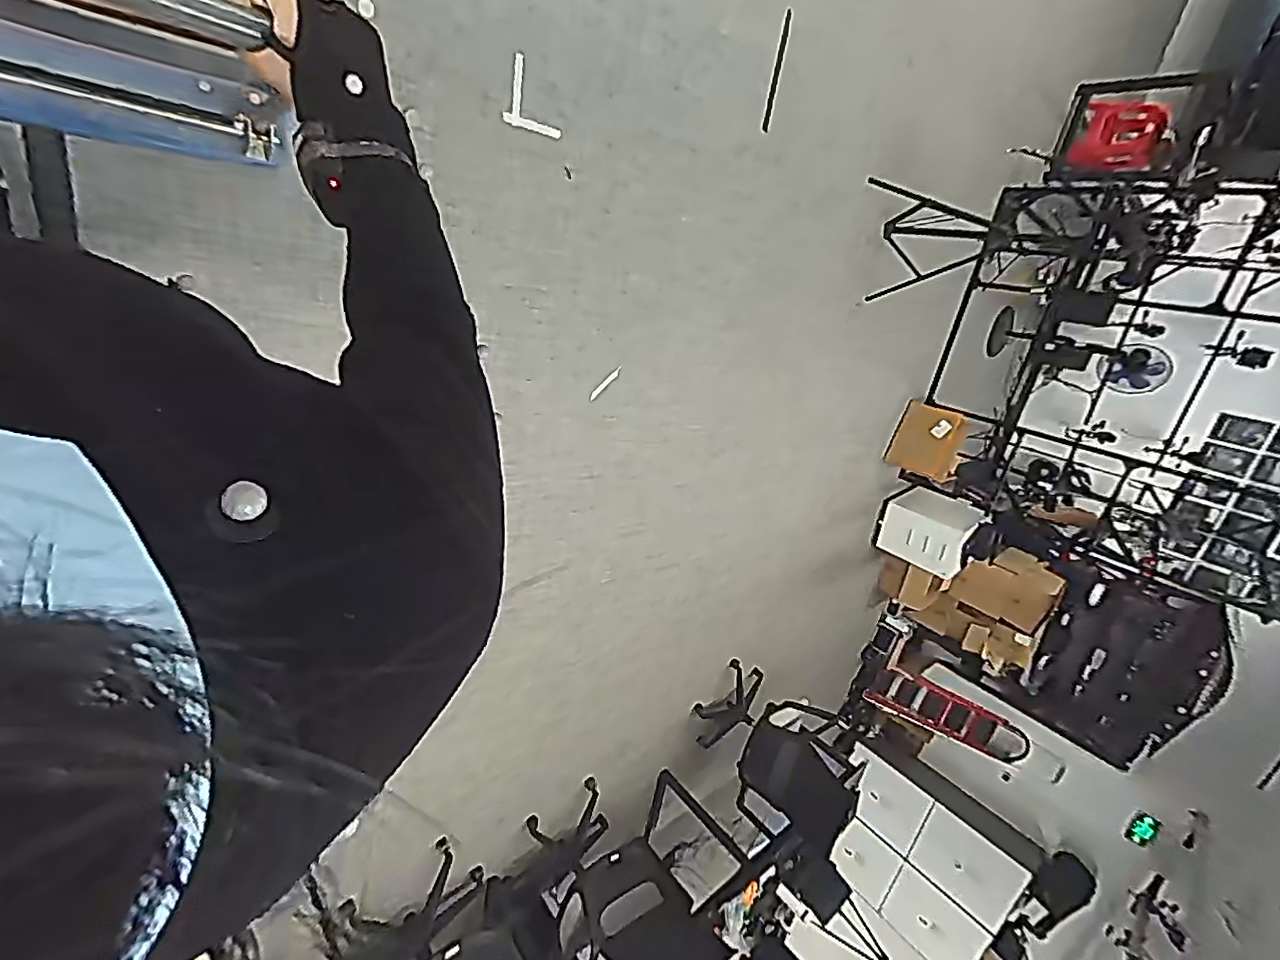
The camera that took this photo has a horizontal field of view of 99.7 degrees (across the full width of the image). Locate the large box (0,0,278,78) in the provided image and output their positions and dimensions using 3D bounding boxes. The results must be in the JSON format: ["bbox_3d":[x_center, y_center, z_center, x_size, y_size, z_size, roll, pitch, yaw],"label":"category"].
[{"bbox_3d":[-0.724,-0.732,0.644,0.408,0.320,0.320,-16,122,-41],"label":"large box"}]
